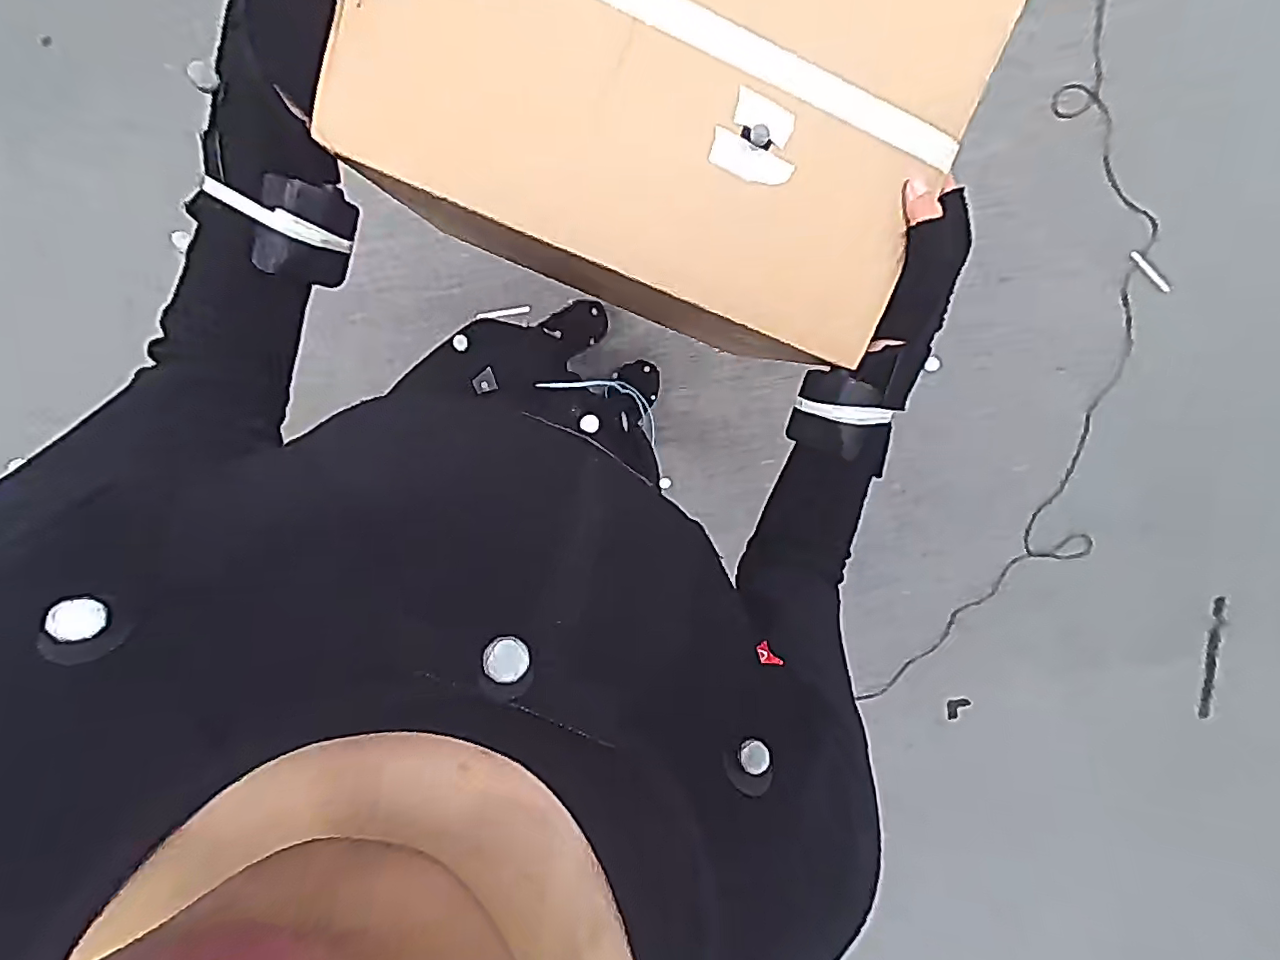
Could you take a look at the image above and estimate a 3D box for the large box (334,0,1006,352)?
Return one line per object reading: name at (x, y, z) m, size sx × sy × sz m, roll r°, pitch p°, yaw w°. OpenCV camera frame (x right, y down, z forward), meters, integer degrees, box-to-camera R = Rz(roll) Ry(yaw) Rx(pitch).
large box at (0.015, -0.336, 0.501) m, size 0.408 × 0.320 × 0.320 m, roll 19°, pitch 103°, yaw -11°
